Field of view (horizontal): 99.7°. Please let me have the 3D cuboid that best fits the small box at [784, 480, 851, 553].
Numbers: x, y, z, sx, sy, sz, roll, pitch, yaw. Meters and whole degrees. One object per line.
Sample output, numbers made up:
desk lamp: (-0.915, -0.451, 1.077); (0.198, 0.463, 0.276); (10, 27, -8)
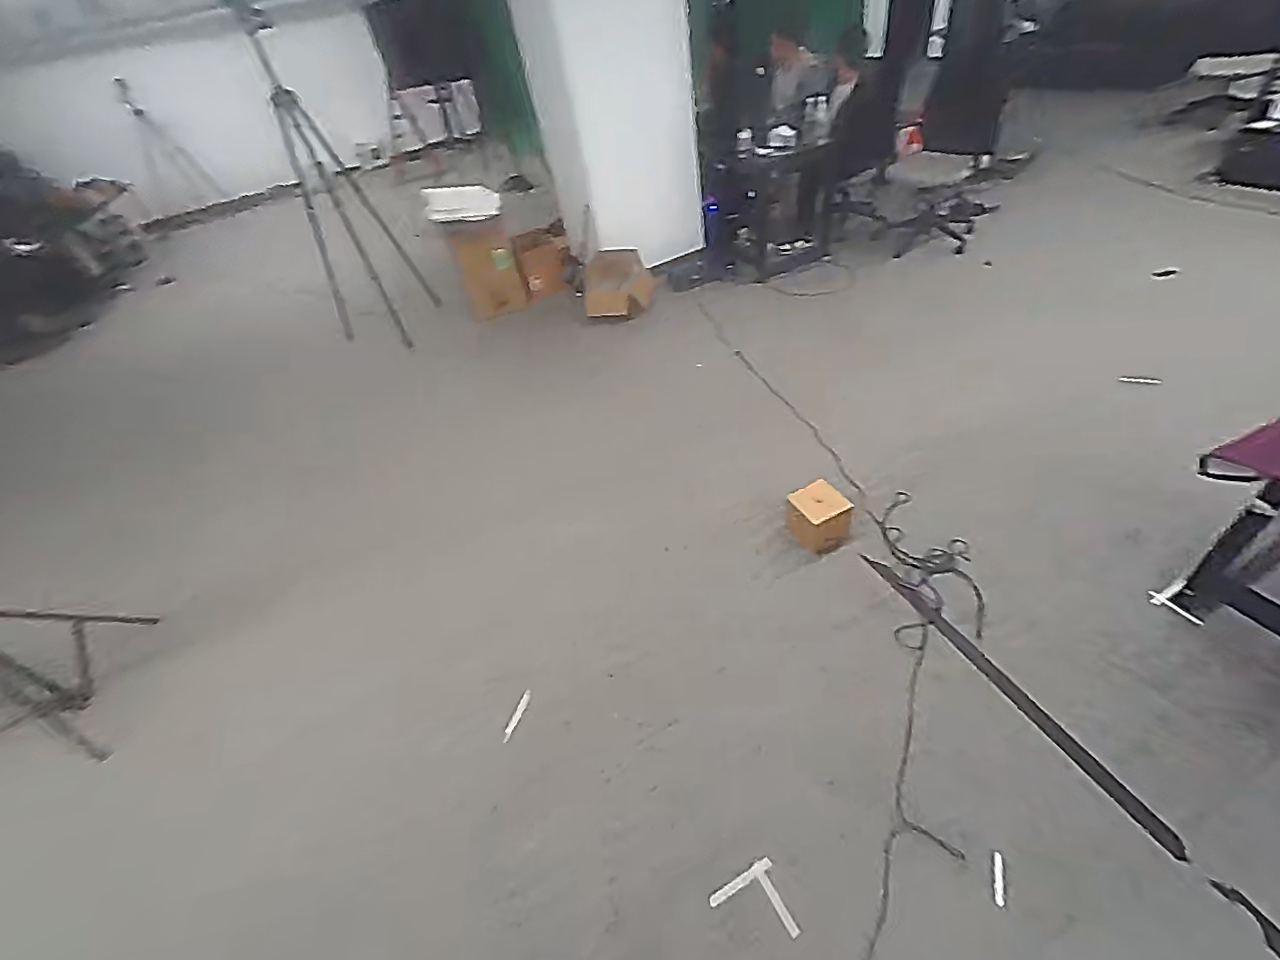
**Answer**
small box: (0.651, 0.136, 2.003); (0.168, 0.176, 0.179); (-24, 43, -11)
